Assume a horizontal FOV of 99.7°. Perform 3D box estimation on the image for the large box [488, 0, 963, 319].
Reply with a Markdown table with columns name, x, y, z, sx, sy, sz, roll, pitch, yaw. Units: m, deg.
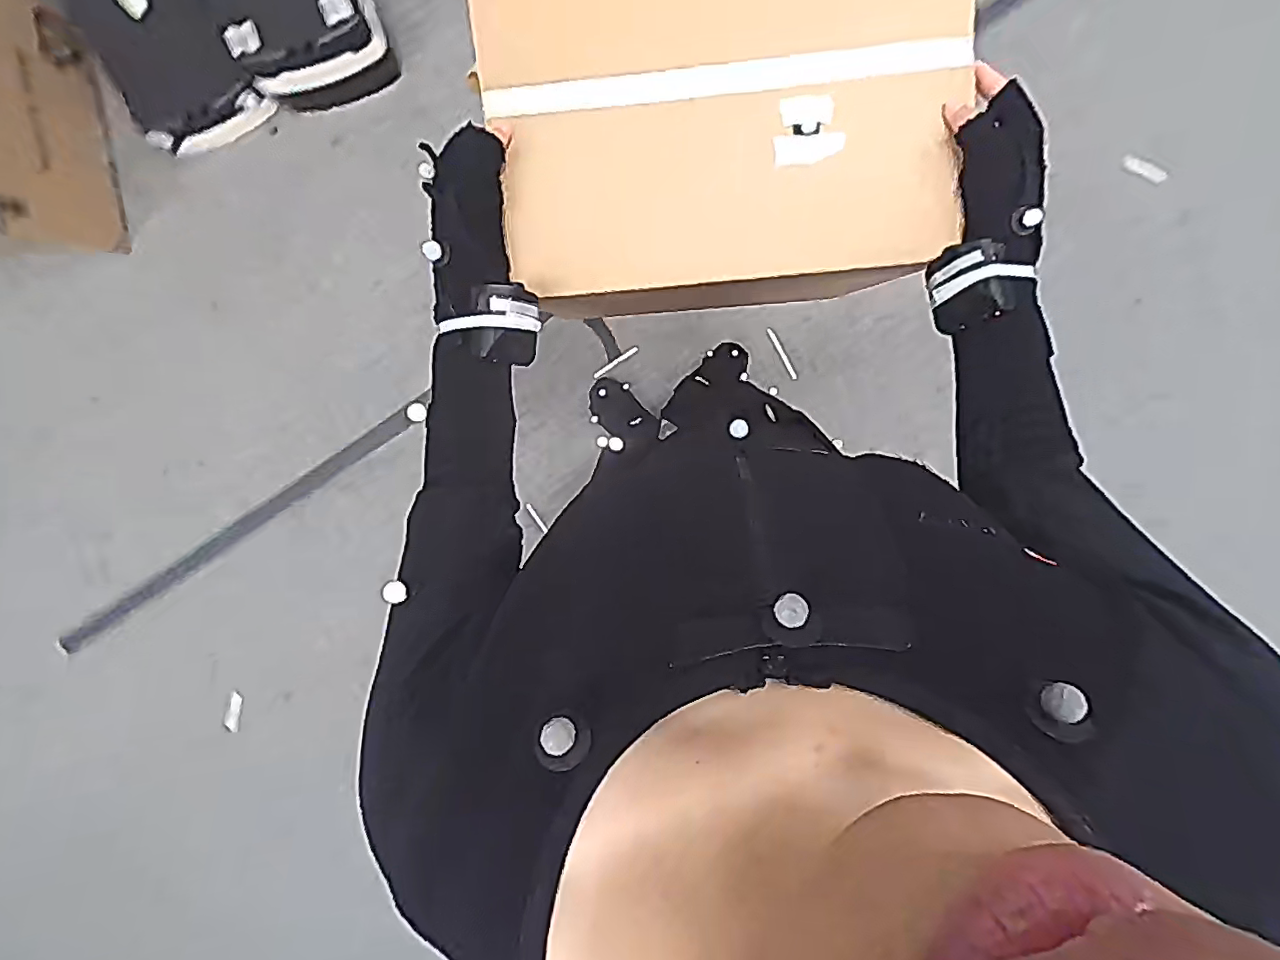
| name | x | y | z | sx | sy | sz | roll | pitch | yaw |
| --- | --- | --- | --- | --- | --- | --- | --- | --- | --- |
| large box | 0.076 | -0.370 | 0.616 | 0.408 | 0.320 | 0.320 | -4 | 103 | 1 |
